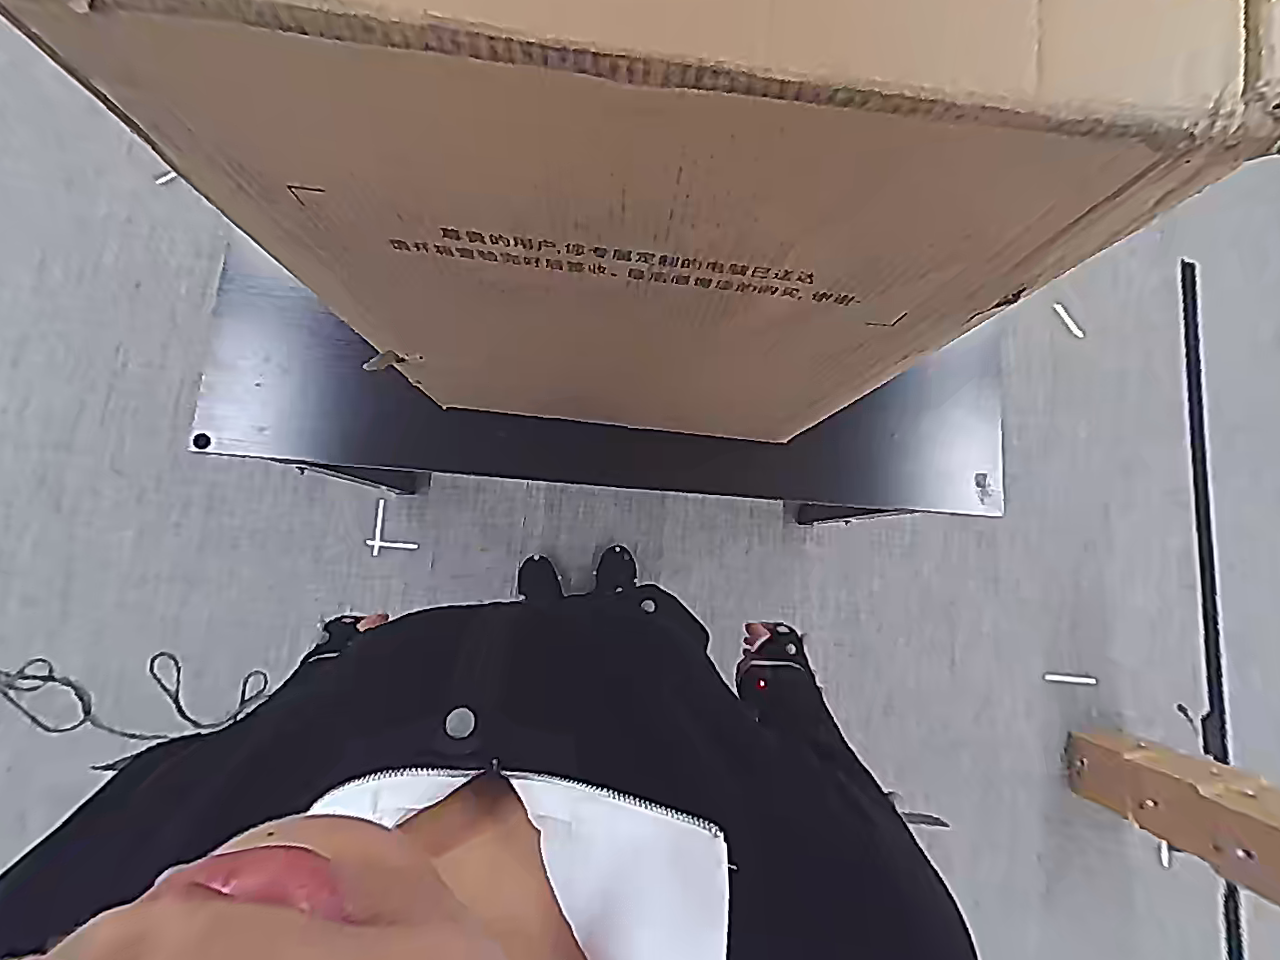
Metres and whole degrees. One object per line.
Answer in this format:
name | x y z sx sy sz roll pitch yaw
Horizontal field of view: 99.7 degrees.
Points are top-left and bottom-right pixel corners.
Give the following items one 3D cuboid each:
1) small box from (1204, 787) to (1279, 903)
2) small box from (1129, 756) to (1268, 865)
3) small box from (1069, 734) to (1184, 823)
small box | 1.332 0.760 1.116 0.179 0.176 0.168 -5 82 -4
small box | 1.325 0.771 1.280 0.179 0.176 0.168 -3 81 -4
small box | 1.301 0.789 1.443 0.179 0.176 0.168 2 81 -3
